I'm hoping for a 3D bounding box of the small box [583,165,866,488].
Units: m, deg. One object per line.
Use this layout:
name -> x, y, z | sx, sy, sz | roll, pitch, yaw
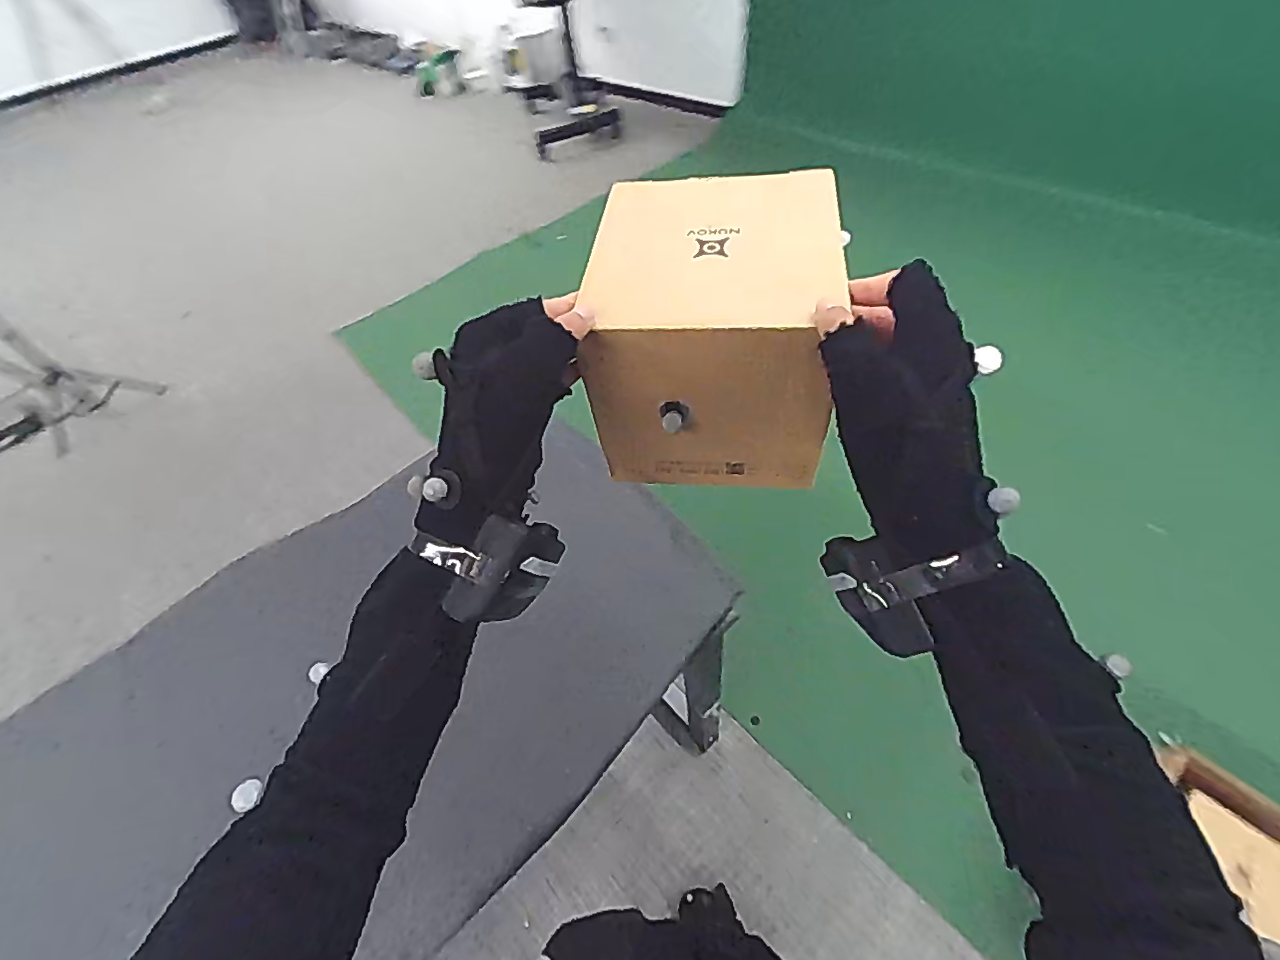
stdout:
small box -> 0.068, -0.109, 0.417 | 0.168, 0.176, 0.179 | 3, 56, 11
